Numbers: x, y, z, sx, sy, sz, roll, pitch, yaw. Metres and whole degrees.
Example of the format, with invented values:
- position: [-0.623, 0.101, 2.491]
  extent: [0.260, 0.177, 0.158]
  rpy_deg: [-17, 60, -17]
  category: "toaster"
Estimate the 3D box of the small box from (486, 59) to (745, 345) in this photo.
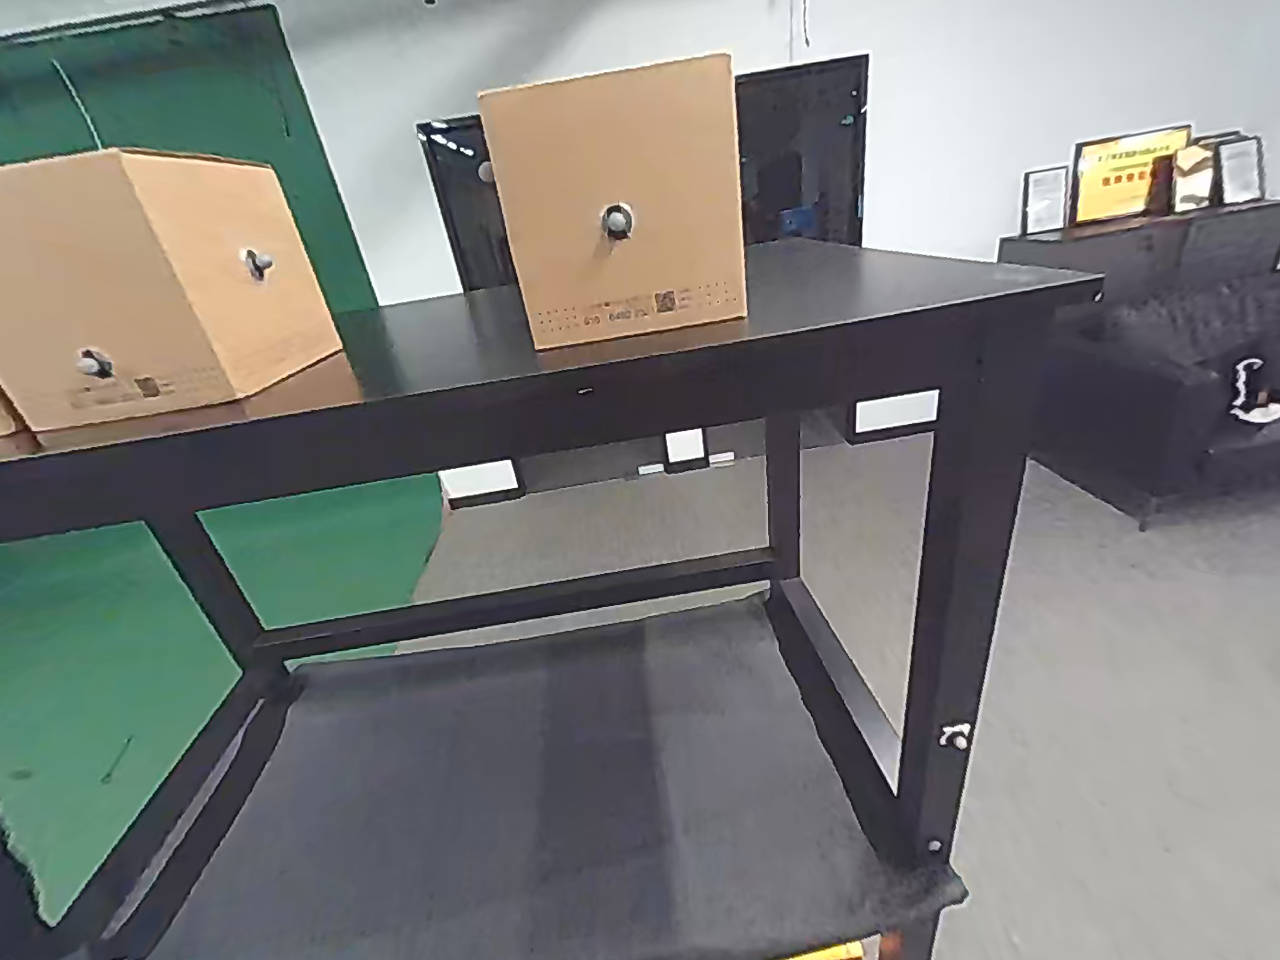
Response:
- position: [-0.012, -0.217, 0.453]
  extent: [0.168, 0.176, 0.179]
  rpy_deg: [-8, 27, 1]
  category: "small box"
